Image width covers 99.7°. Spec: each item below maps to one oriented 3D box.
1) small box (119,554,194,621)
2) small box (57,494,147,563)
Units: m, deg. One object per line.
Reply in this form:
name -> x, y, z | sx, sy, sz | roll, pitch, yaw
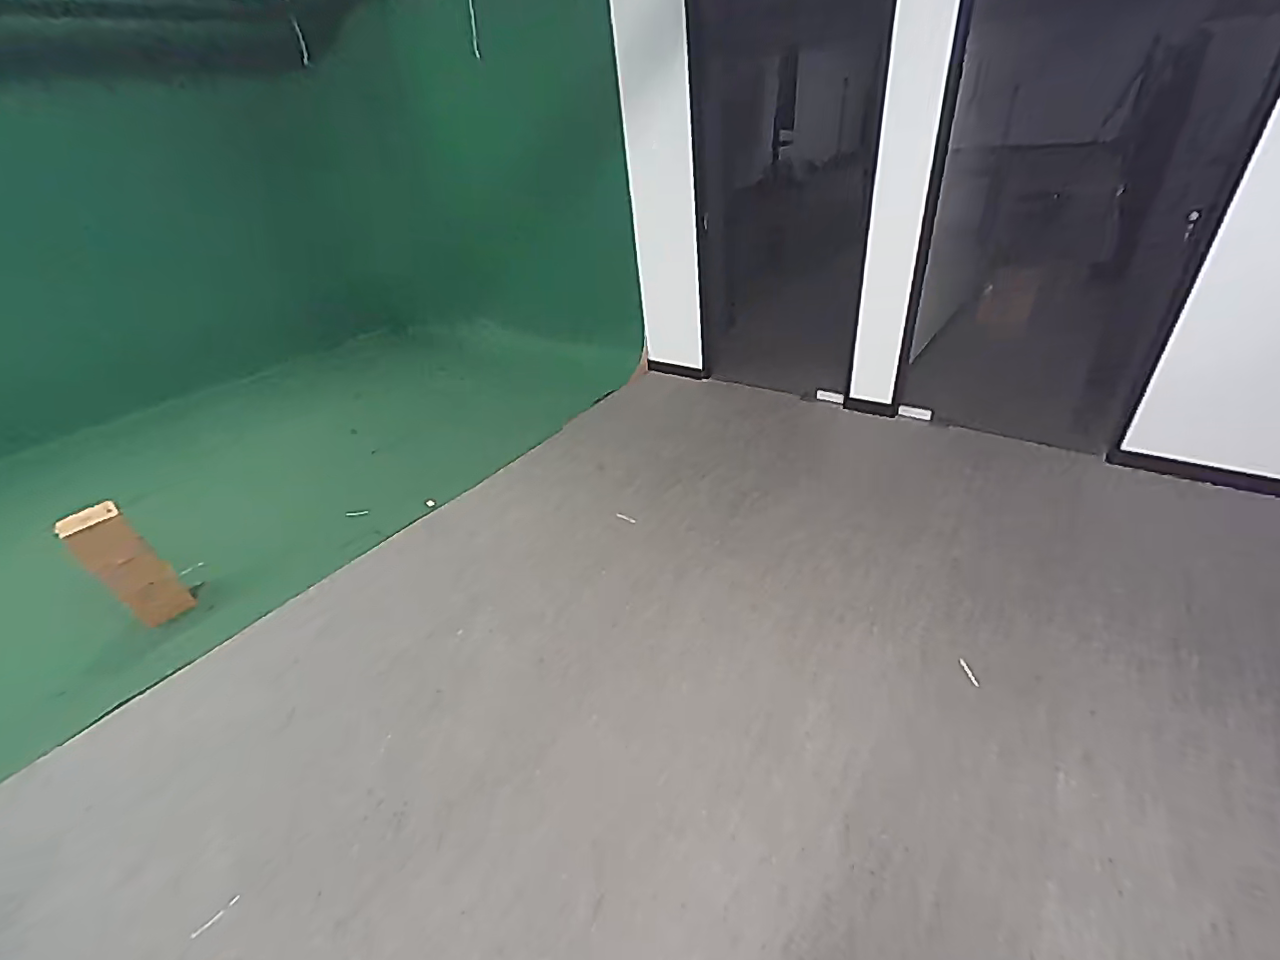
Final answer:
small box -> -2.005, 0.449, 2.253 | 0.168, 0.176, 0.179 | 24, 45, 36
small box -> -2.047, 0.186, 2.060 | 0.168, 0.176, 0.179 | 22, 45, 36
